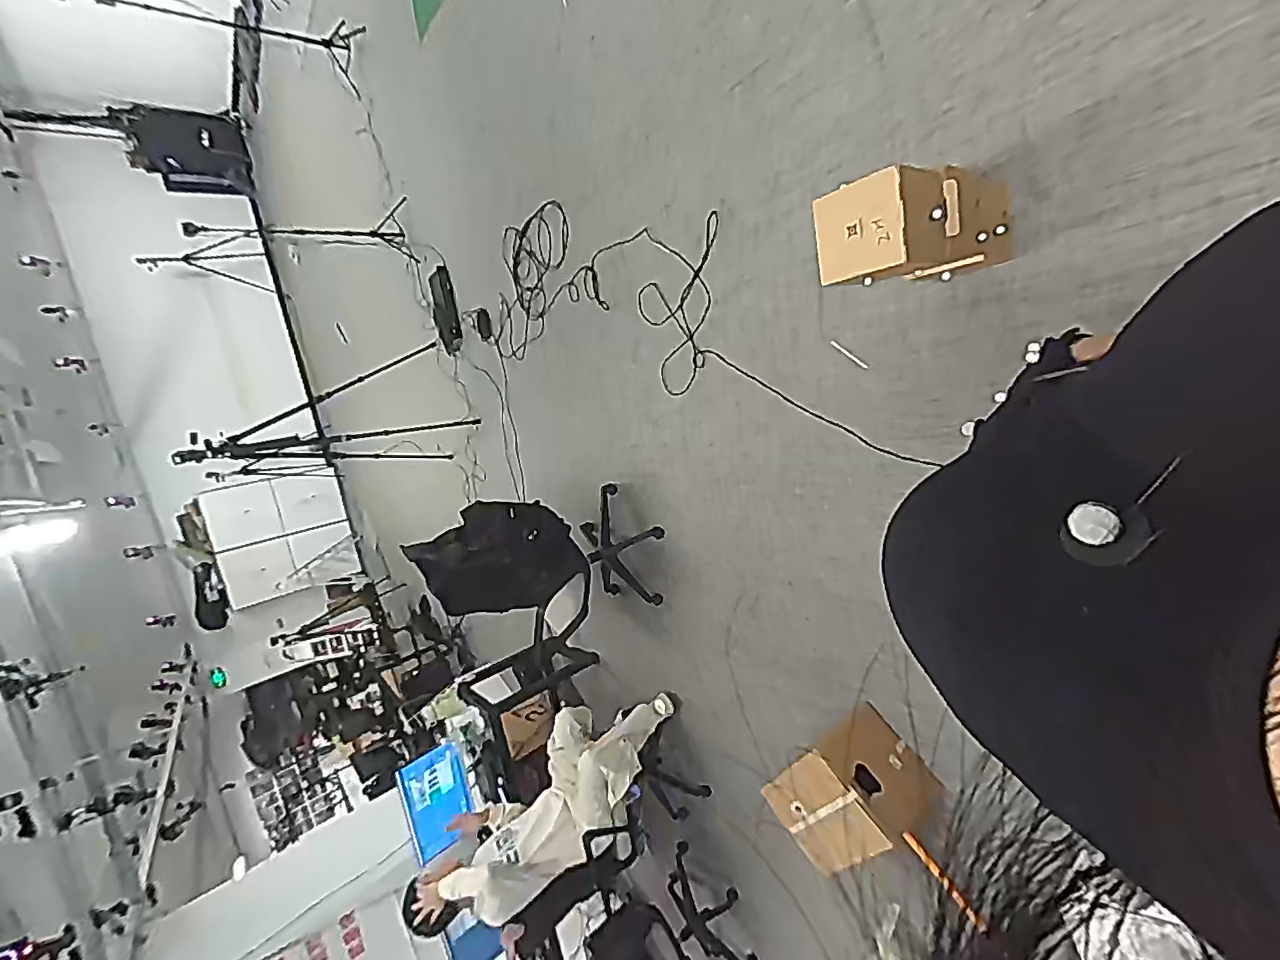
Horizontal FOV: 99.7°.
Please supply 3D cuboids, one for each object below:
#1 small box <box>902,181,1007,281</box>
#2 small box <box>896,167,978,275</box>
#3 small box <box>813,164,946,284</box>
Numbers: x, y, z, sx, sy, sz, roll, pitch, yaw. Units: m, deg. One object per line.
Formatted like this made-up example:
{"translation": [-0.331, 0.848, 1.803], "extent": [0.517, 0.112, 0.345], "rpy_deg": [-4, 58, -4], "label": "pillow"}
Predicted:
{"translation": [0.723, -0.568, 1.247], "extent": [0.179, 0.176, 0.168], "rpy_deg": [3, 106, 52], "label": "small box"}
{"translation": [0.595, -0.540, 1.147], "extent": [0.179, 0.176, 0.168], "rpy_deg": [4, 107, 53], "label": "small box"}
{"translation": [0.467, -0.488, 1.056], "extent": [0.179, 0.176, 0.168], "rpy_deg": [3, 107, 52], "label": "small box"}
